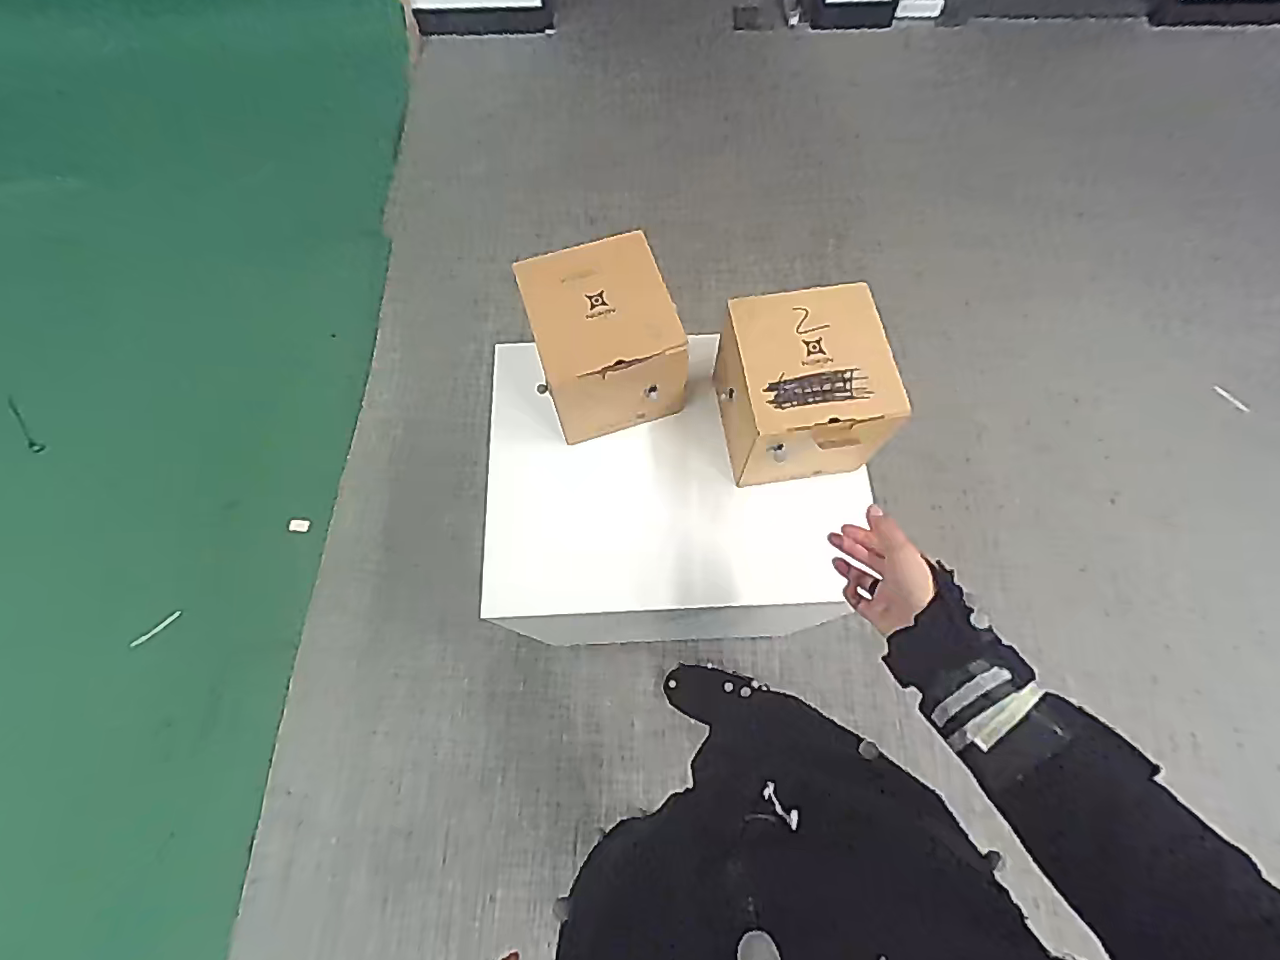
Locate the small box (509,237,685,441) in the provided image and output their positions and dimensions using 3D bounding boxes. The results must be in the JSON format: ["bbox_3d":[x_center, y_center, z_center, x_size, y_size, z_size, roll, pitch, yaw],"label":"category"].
[{"bbox_3d":[-0.050,-0.166,0.690,0.168,0.176,0.179,-18,70,-7],"label":"small box"}]
